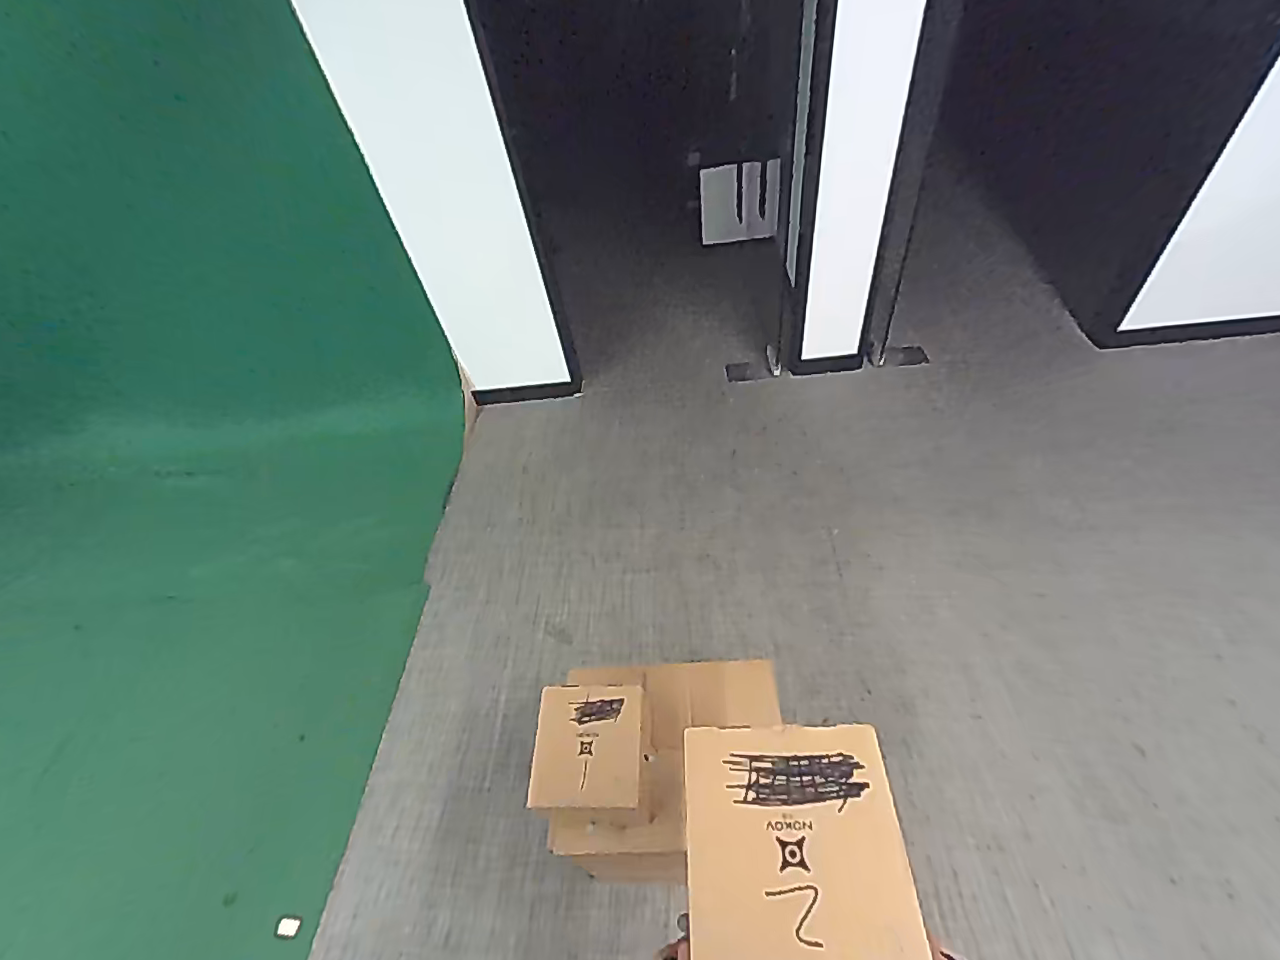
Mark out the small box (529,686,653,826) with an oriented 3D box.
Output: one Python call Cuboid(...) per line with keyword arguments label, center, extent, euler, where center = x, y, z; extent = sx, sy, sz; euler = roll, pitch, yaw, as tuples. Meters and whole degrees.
Cuboid(label="small box", center=(-0.070, 0.457, 0.895), extent=(0.168, 0.176, 0.179), euler=(-3, 51, 6))
